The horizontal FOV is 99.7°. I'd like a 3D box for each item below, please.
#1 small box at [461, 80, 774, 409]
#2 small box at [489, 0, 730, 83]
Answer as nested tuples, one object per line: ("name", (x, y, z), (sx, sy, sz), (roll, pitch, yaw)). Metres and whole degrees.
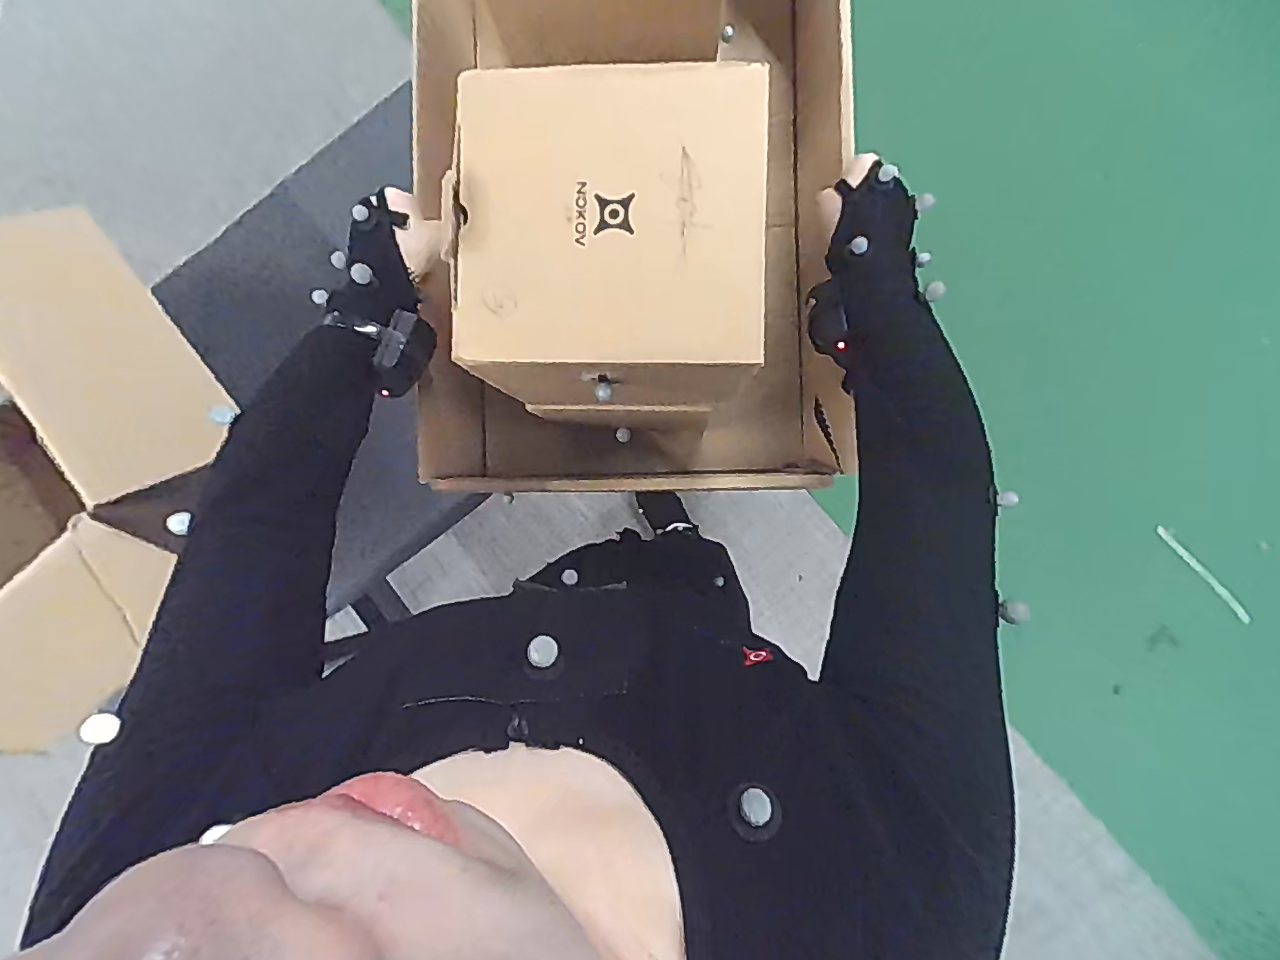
("small box", (-0.009, -0.143, 0.386), (0.179, 0.176, 0.168), (2, 91, 3))
("small box", (-0.020, -0.403, 0.385), (0.179, 0.176, 0.168), (2, 92, 2))
